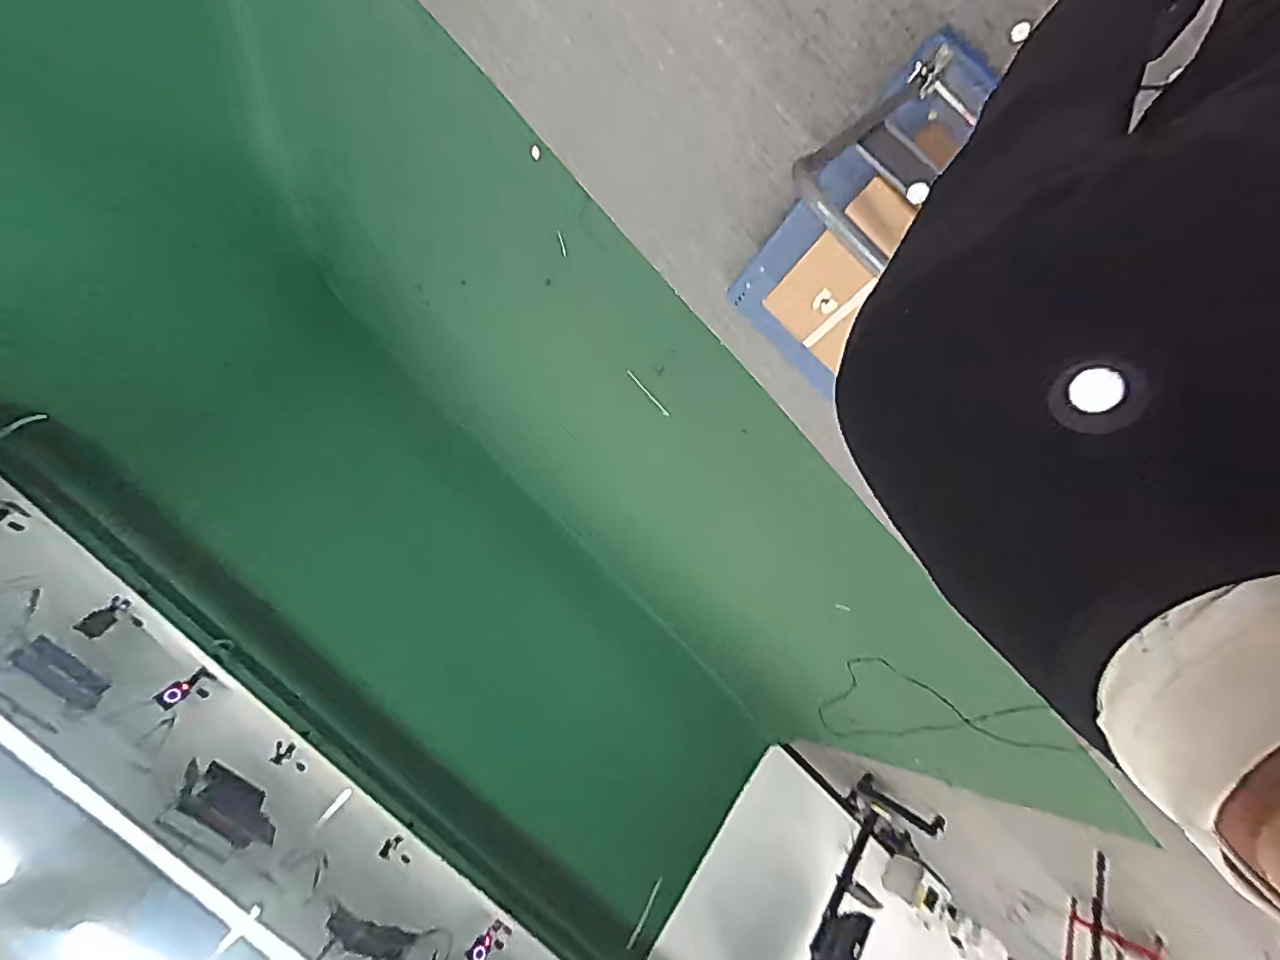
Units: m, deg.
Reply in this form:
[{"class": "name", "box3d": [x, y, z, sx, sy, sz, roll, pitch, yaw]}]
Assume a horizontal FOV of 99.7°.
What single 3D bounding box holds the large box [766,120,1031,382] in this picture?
[{"class": "large box", "box3d": [0.580, -0.510, 1.259, 0.320, 0.320, 0.408, 44, 154, -2]}]
